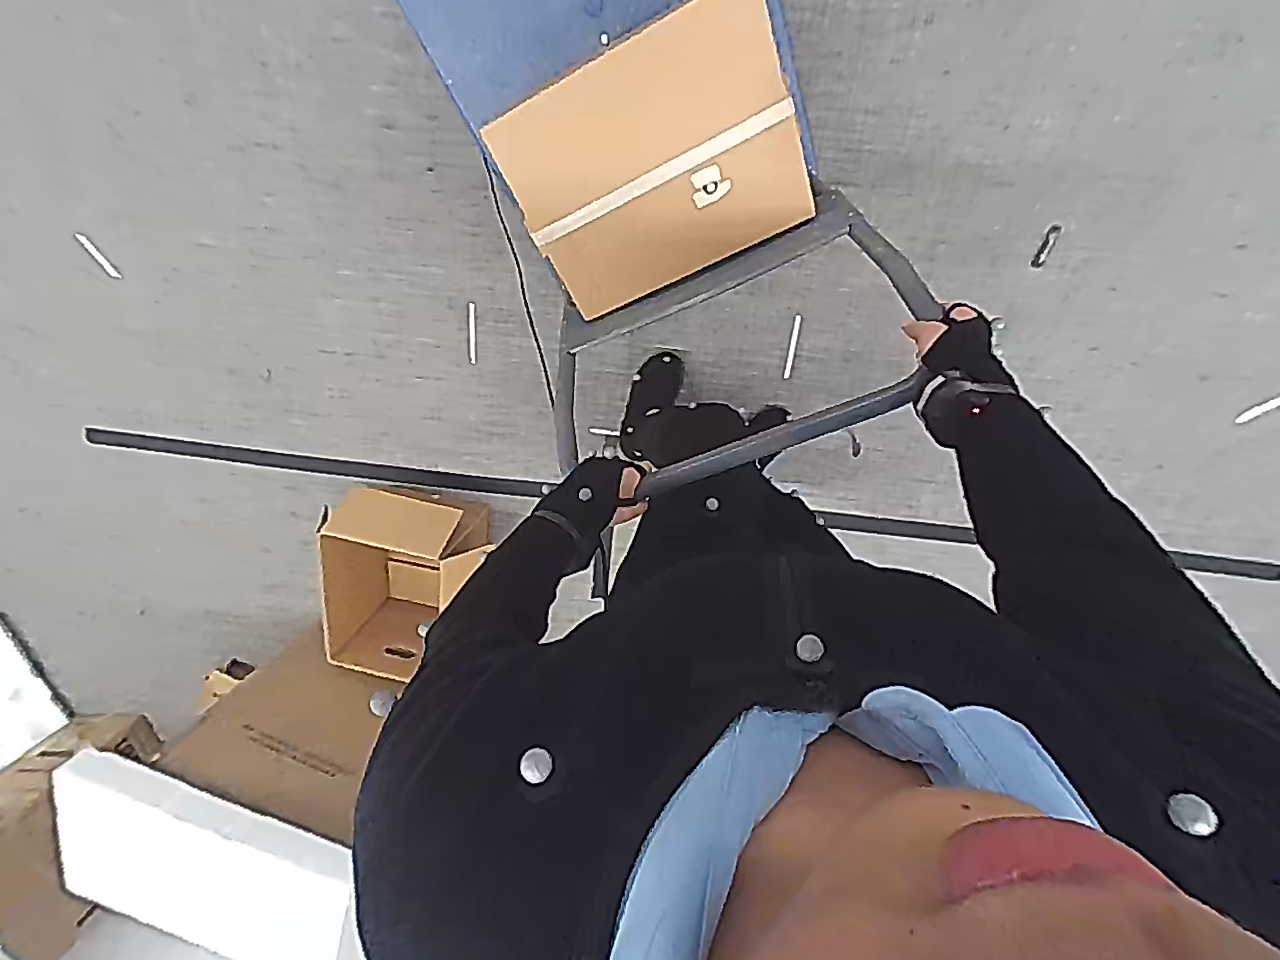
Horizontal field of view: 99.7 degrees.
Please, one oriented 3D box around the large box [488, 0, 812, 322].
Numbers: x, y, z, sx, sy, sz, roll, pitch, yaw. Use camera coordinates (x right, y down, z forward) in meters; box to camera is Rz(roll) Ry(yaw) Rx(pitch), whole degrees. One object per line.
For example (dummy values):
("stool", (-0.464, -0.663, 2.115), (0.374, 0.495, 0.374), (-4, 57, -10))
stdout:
("large box", (0.018, -0.540, 0.913), (0.408, 0.320, 0.320), (-22, 128, 14))
